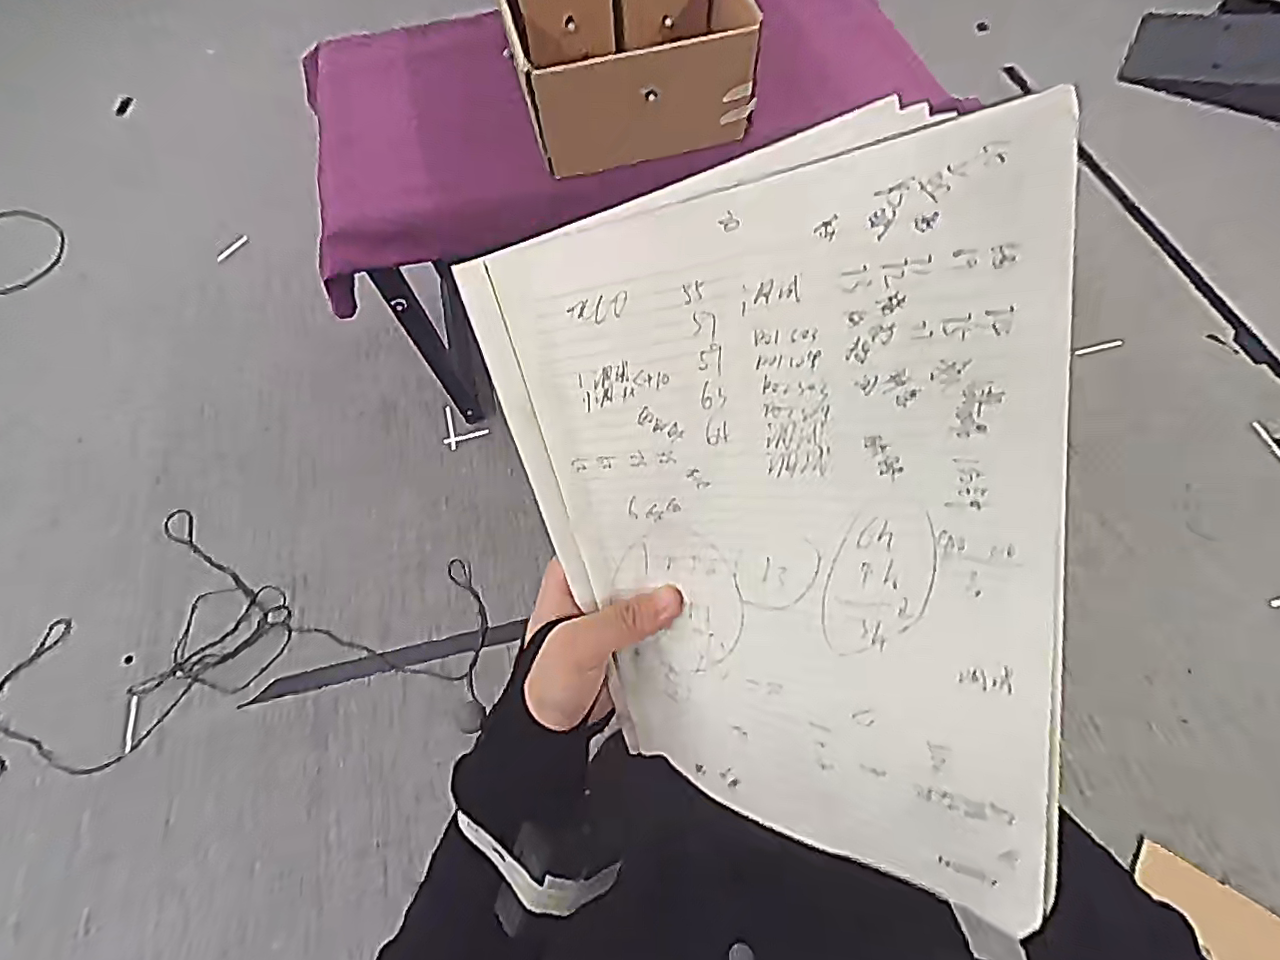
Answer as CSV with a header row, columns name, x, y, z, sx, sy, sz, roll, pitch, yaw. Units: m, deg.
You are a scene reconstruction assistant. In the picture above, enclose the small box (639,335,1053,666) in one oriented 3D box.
name,x,y,z,sx,sy,sz,roll,pitch,yaw
small box,0.110,0.028,0.364,0.179,0.176,0.168,1,66,-16
